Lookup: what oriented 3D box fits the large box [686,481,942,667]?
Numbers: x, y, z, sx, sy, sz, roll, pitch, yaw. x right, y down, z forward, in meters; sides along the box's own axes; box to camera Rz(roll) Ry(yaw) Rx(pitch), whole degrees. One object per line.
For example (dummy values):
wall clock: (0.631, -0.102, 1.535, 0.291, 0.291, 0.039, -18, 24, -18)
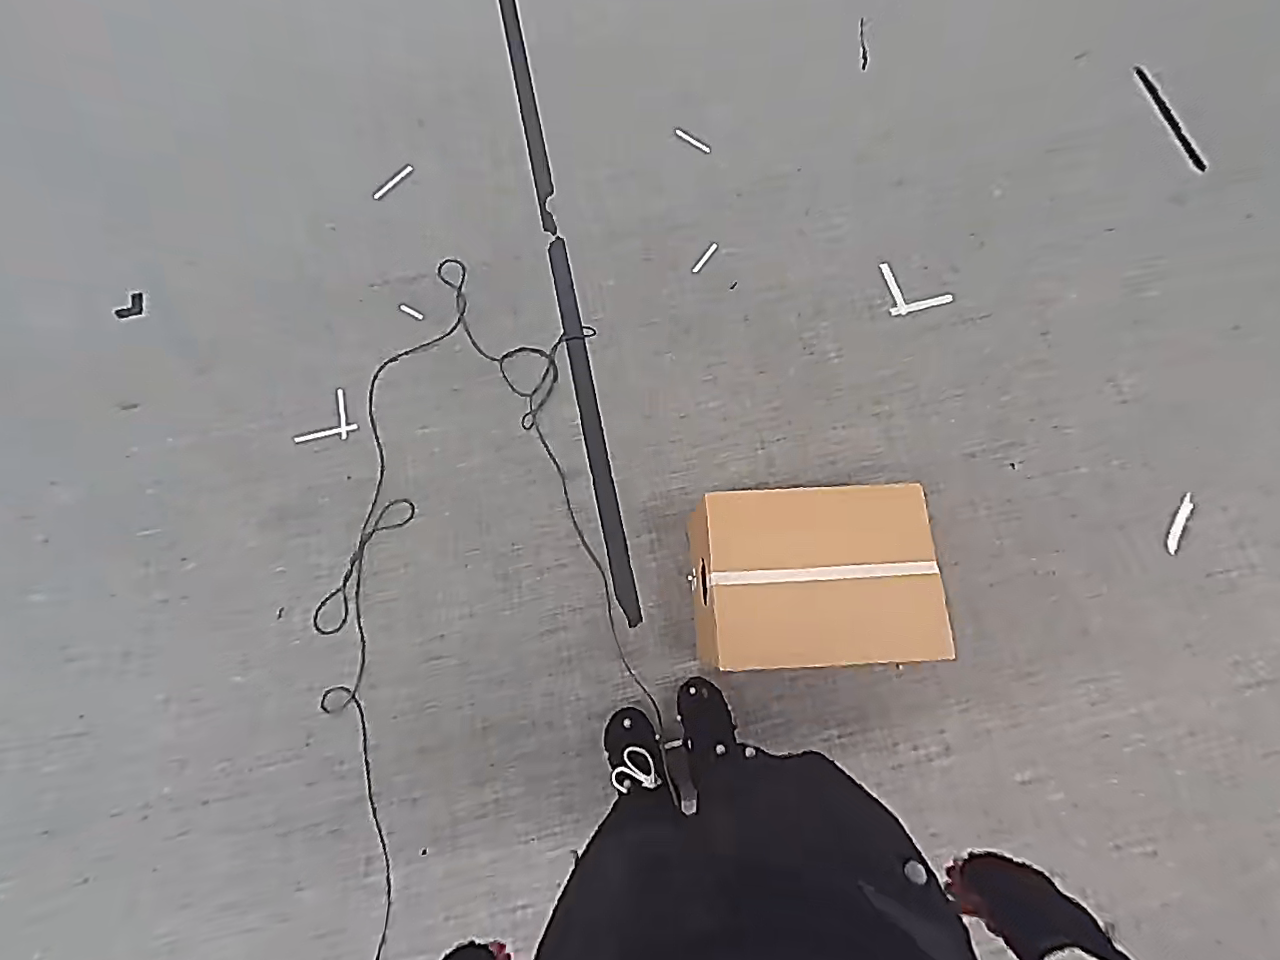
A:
large box: (0.316, 0.198, 1.105, 0.408, 0.320, 0.320, -2, 74, -1)
